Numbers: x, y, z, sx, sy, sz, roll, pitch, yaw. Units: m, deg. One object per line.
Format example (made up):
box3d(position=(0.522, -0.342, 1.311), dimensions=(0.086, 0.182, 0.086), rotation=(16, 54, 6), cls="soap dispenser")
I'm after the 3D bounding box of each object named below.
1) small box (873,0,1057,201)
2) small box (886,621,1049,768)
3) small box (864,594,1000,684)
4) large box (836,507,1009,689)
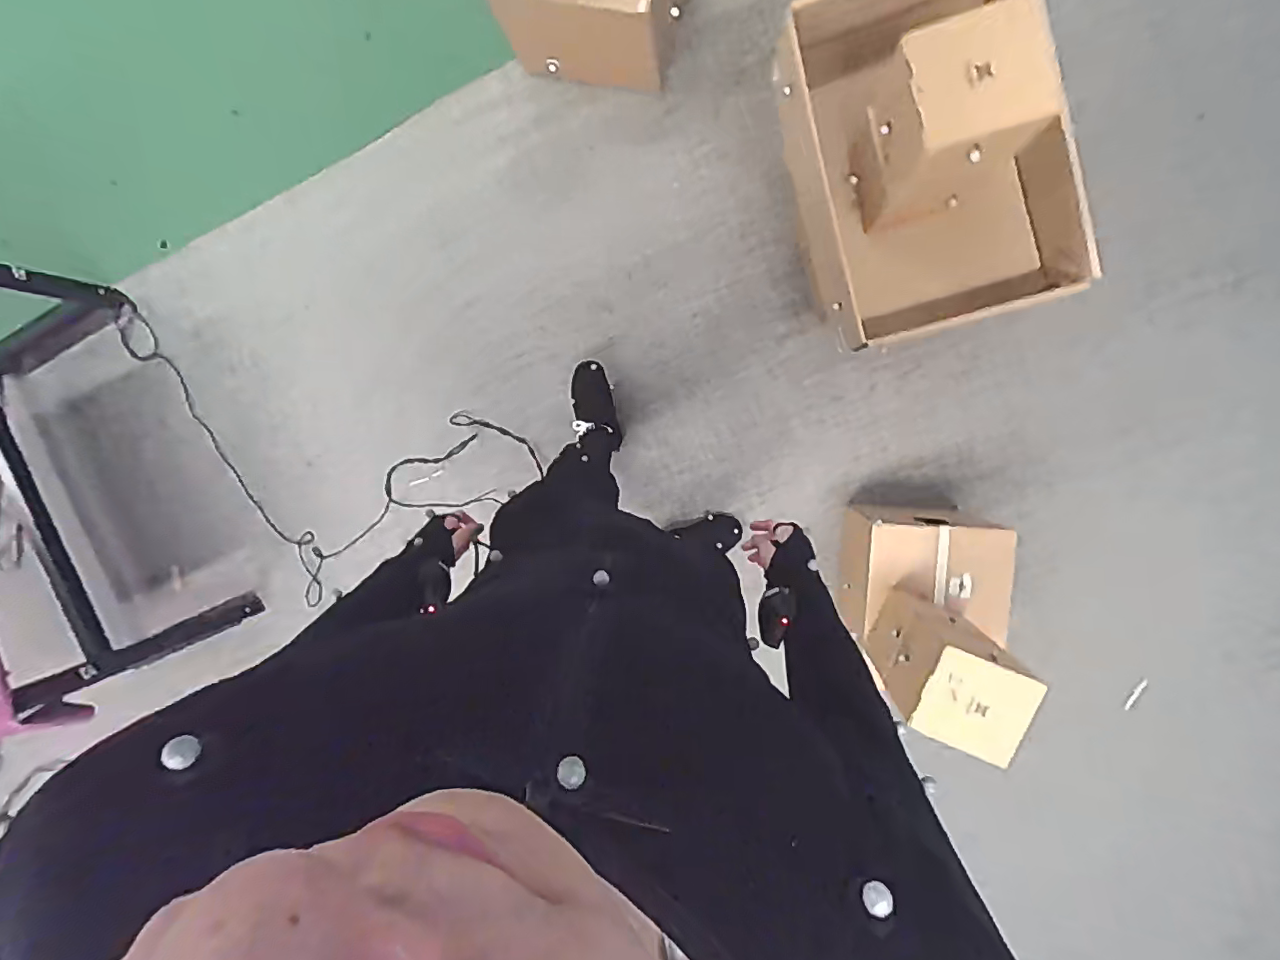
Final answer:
box3d(position=(0.482, -0.563, 0.828), dimensions=(0.179, 0.176, 0.168), rotation=(-13, 93, 10), cls="small box")
box3d(position=(0.594, 0.386, 1.007), dimensions=(0.179, 0.176, 0.168), rotation=(21, 98, 7), cls="small box")
box3d(position=(0.618, 0.366, 1.170), dimensions=(0.179, 0.176, 0.168), rotation=(22, 98, 6), cls="small box")
box3d(position=(0.701, 0.292, 1.400), dimensions=(0.320, 0.320, 0.408), rotation=(2, 95, 7), cls="large box")
